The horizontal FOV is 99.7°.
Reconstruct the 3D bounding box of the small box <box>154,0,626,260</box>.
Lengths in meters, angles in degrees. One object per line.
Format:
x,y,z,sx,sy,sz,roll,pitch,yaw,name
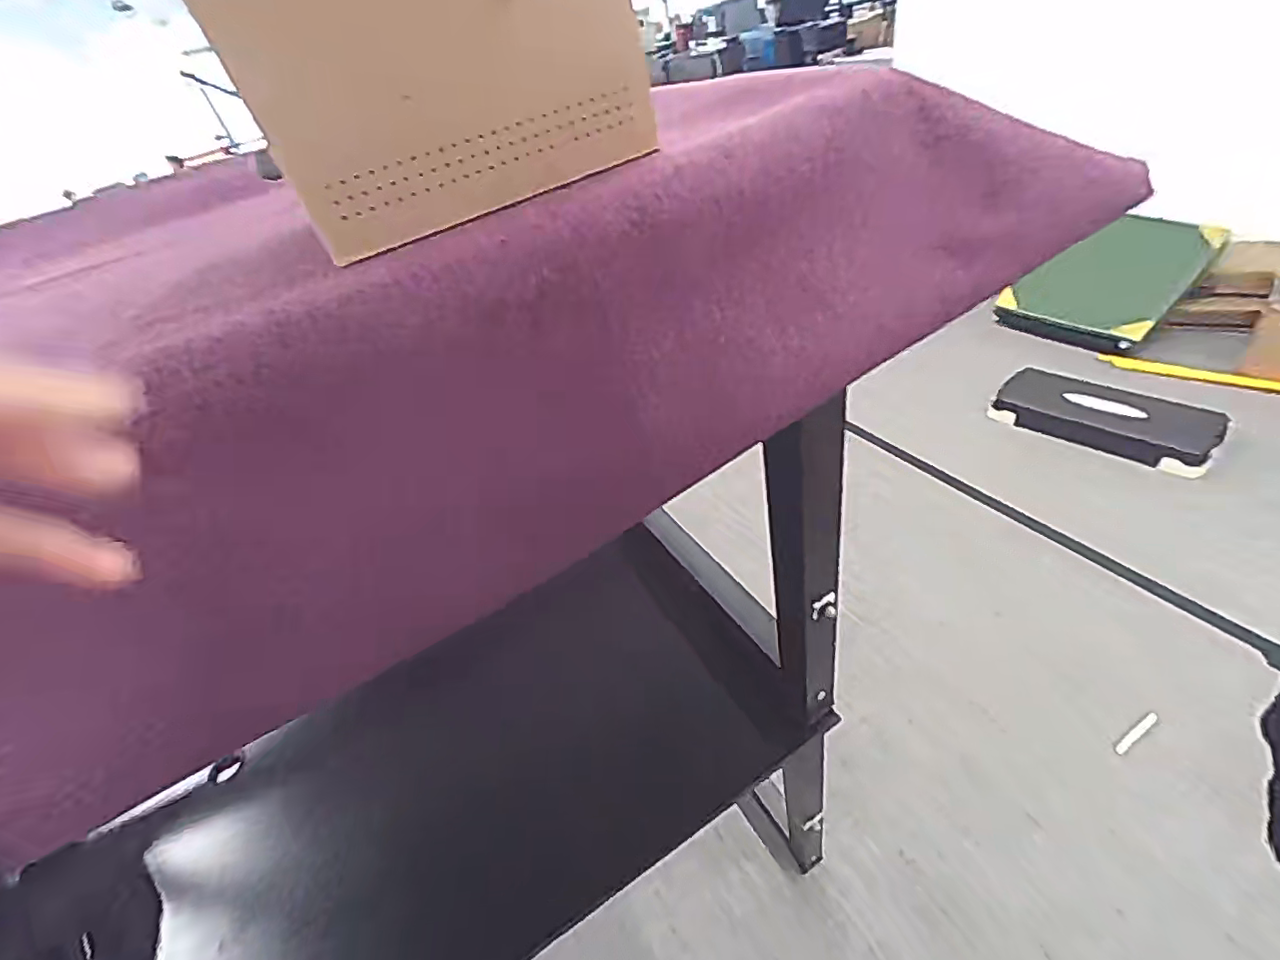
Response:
-0.120,-0.232,0.262,0.179,0.176,0.168,-28,41,-13,small box
